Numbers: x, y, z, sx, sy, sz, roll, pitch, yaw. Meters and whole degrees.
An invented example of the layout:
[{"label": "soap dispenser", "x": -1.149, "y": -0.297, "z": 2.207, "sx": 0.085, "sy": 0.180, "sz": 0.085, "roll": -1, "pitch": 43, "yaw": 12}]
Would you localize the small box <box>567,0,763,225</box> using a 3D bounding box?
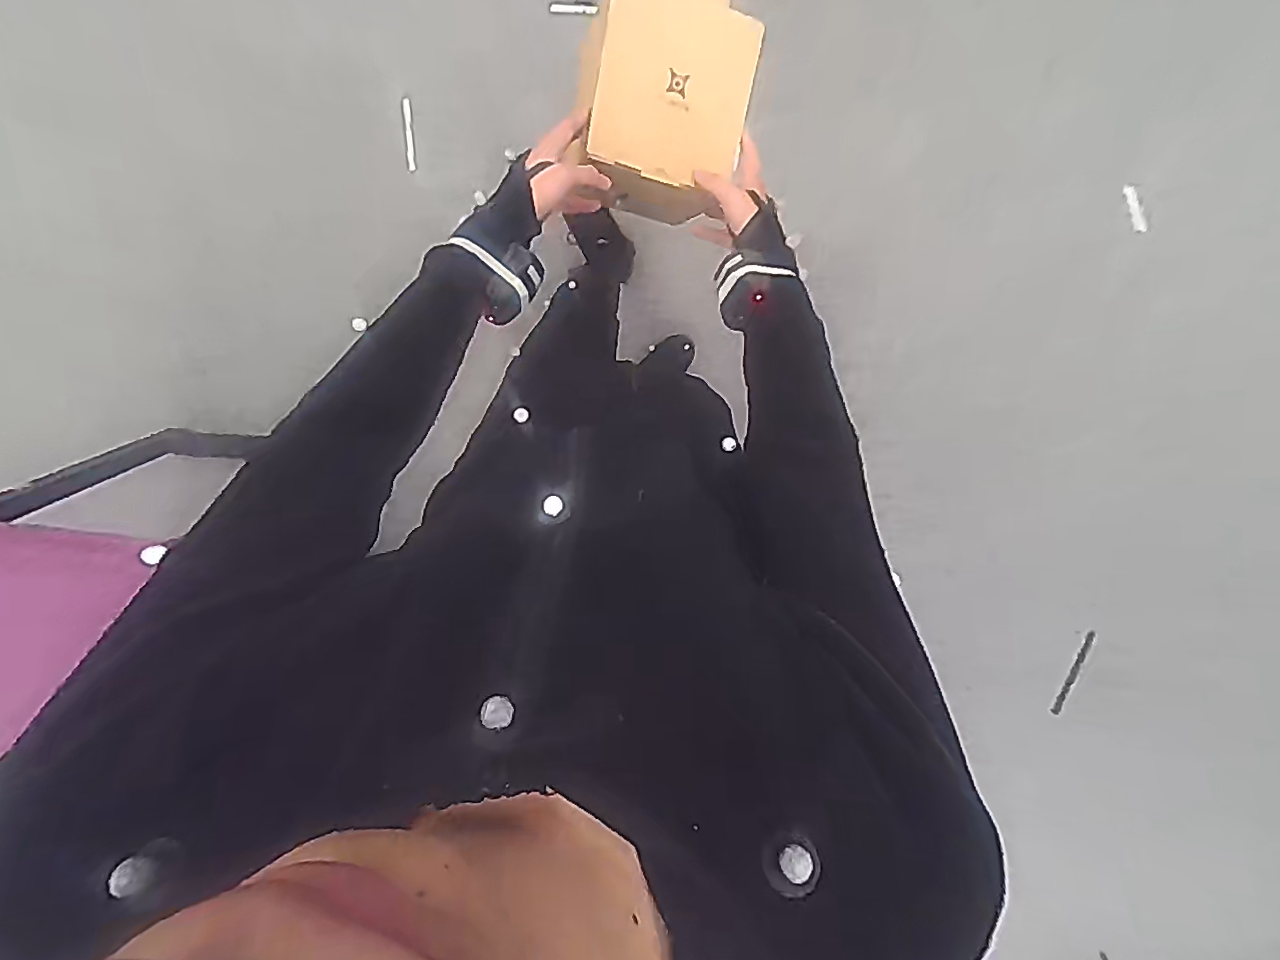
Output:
[{"label": "small box", "x": 0.016, "y": -0.424, "z": 0.636, "sx": 0.168, "sy": 0.176, "sz": 0.179, "roll": 8, "pitch": 104, "yaw": -19}]
